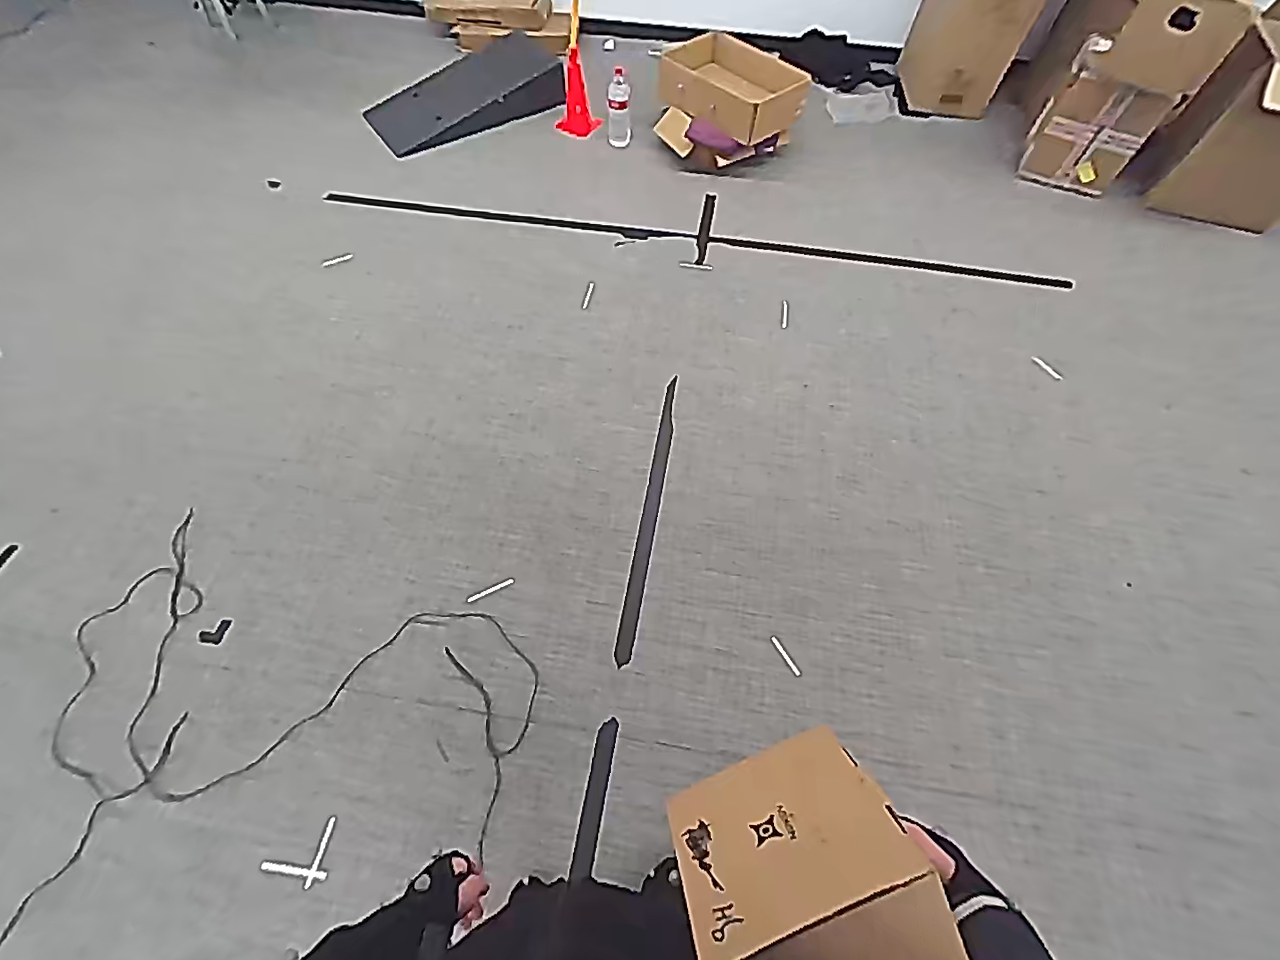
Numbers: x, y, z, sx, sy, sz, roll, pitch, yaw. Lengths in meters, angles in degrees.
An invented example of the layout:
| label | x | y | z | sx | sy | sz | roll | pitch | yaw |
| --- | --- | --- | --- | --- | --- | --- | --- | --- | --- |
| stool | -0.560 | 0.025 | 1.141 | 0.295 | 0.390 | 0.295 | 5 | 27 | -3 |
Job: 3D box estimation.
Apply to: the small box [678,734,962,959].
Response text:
| label | x | y | z | sx | sy | sz | roll | pitch | yaw |
| --- | --- | --- | --- | --- | --- | --- | --- | --- | --- |
| small box | 0.153 | 0.370 | 0.471 | 0.179 | 0.168 | 0.176 | -23 | 100 | -2 |
